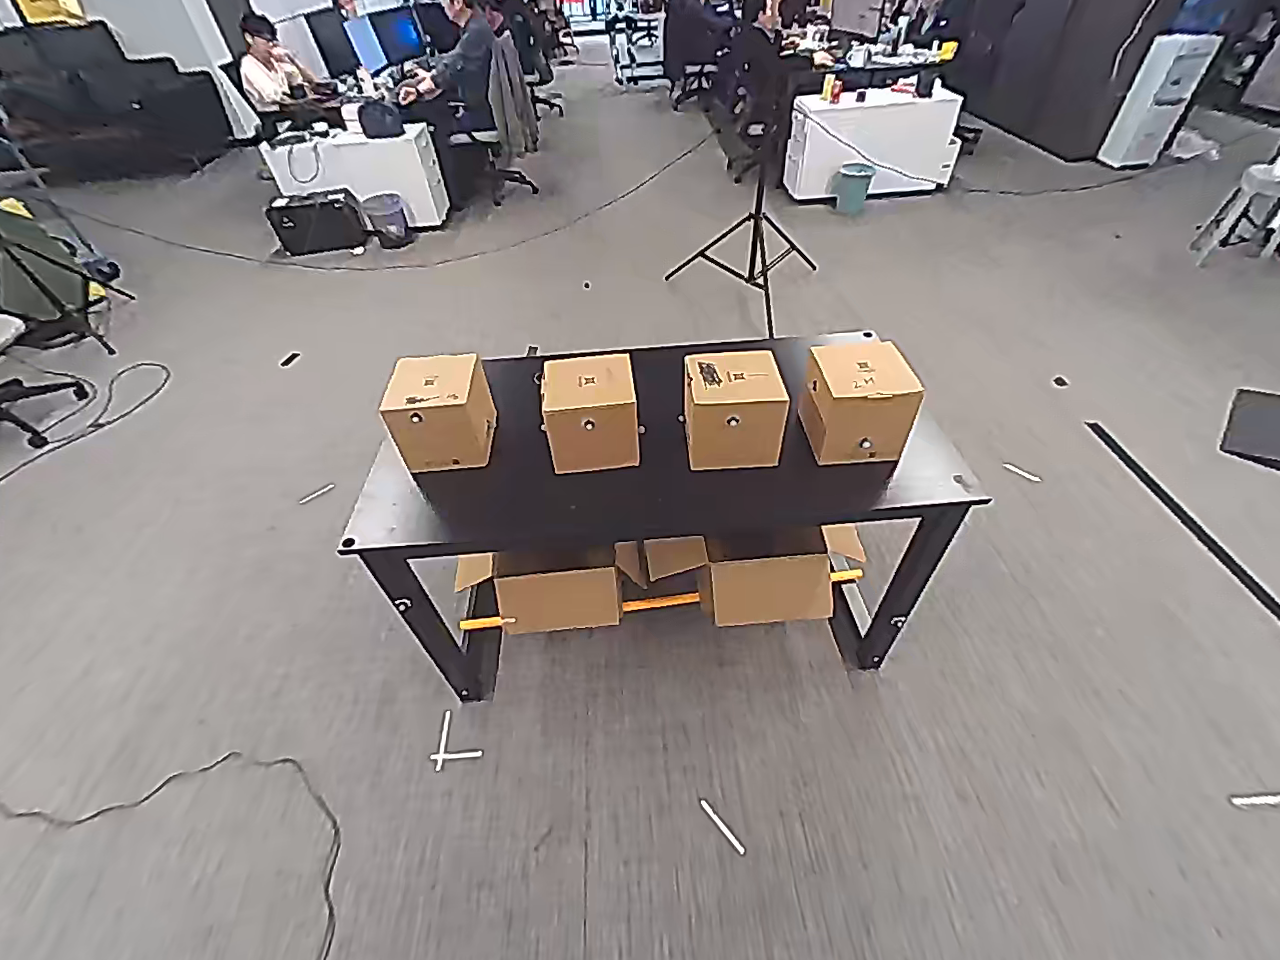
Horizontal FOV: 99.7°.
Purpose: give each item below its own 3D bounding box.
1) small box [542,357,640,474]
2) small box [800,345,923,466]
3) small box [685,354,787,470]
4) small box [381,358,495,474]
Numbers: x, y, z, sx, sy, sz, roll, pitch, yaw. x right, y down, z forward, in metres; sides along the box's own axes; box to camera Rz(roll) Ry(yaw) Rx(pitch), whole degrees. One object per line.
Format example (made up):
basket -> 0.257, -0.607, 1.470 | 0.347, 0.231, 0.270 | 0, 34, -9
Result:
small box -> -0.097, -0.128, 1.102 | 0.179, 0.176, 0.168 | -6, 46, -3
small box -> 0.427, -0.148, 1.078 | 0.168, 0.176, 0.179 | -4, 45, 2
small box -> 0.183, -0.132, 1.081 | 0.179, 0.176, 0.168 | -3, 45, 1
small box -> -0.407, -0.133, 1.126 | 0.168, 0.176, 0.179 | -5, 45, -1
